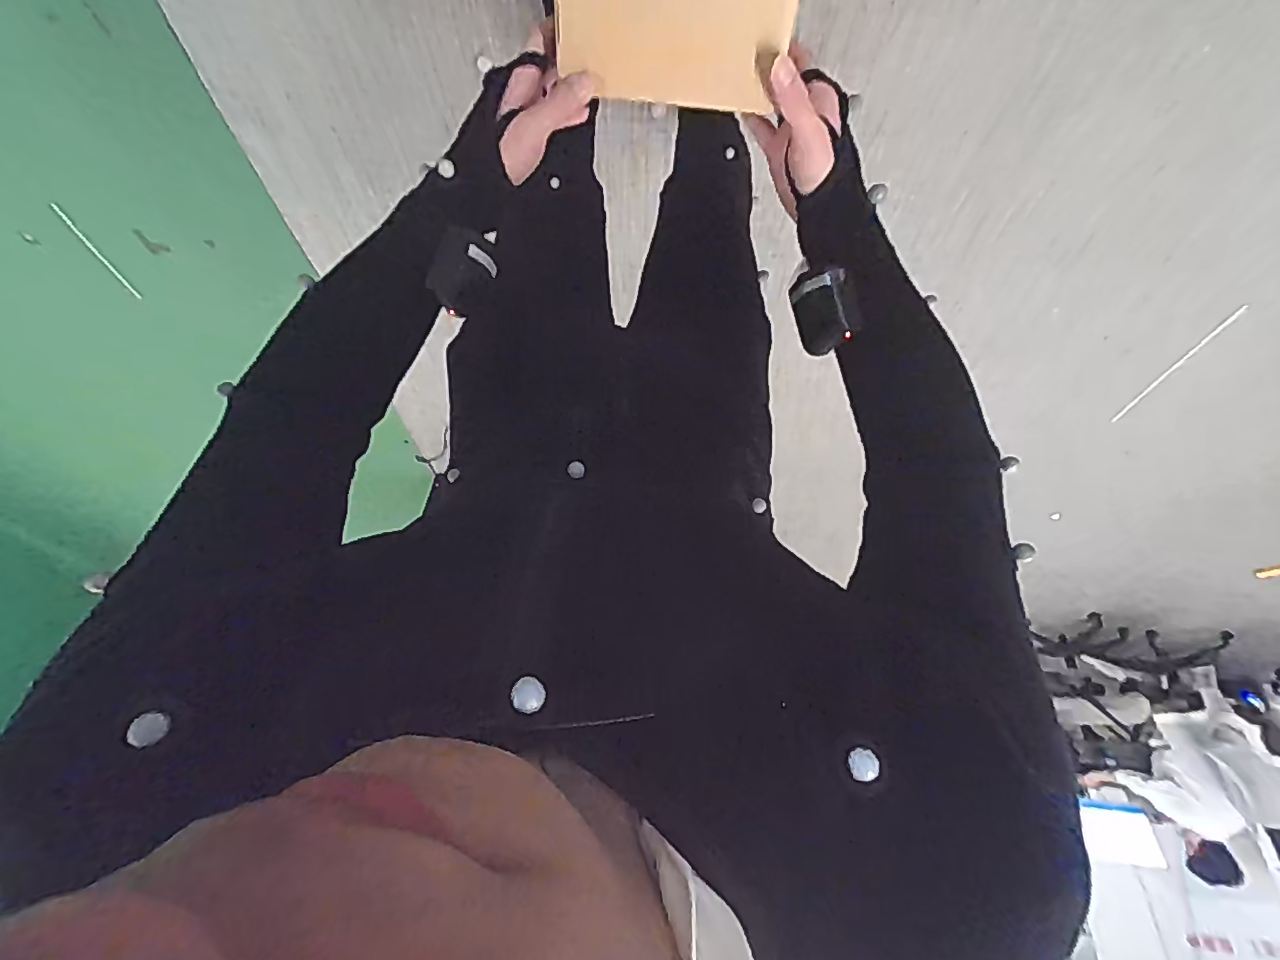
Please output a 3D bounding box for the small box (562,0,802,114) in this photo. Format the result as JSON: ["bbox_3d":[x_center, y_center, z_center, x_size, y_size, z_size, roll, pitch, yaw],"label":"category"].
[{"bbox_3d":[0.038,-0.416,0.430,0.179,0.176,0.168,7,136,1],"label":"small box"}]
